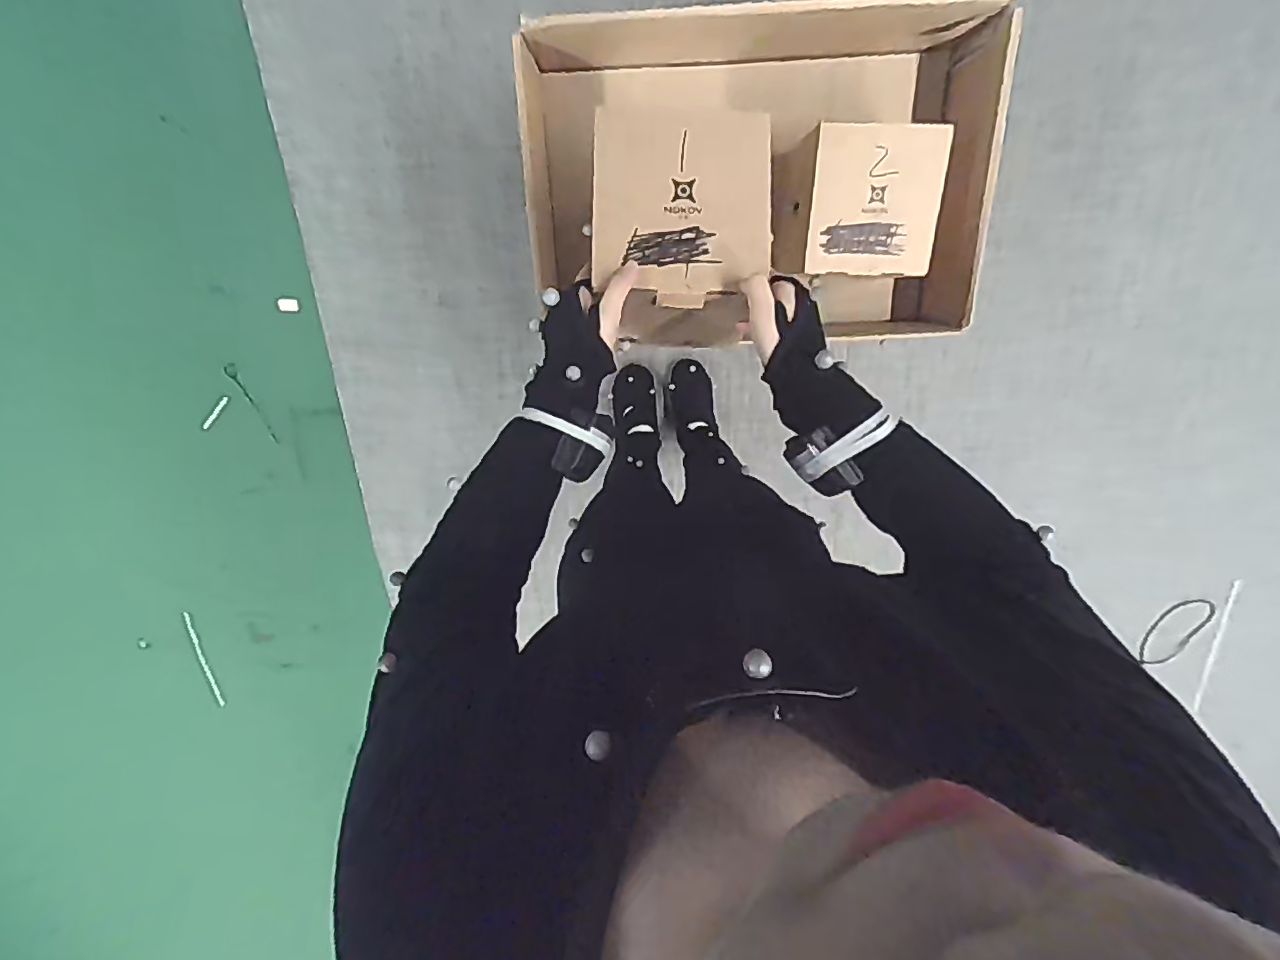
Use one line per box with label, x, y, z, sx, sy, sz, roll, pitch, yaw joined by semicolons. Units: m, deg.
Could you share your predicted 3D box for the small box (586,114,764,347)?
small box;0.034;-0.253;0.586;0.168;0.176;0.179;1;85;-1
